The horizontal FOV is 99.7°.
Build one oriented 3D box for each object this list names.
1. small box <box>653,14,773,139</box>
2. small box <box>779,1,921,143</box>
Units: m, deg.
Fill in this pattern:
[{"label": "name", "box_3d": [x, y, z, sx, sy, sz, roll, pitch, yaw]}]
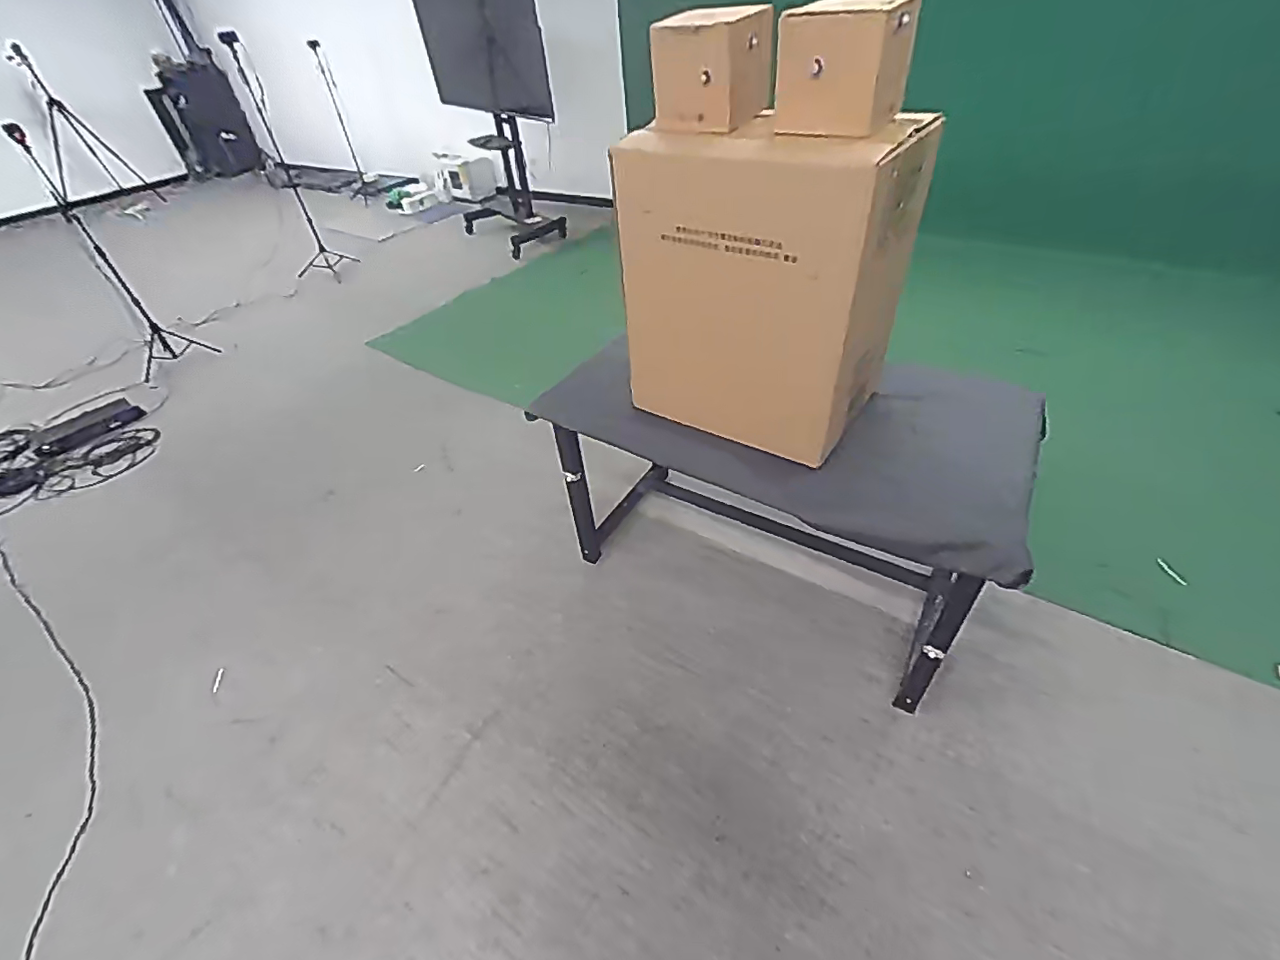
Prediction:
[{"label": "small box", "box_3d": [0.145, -0.787, 1.059, 0.168, 0.176, 0.179, 23, 52, 27]}, {"label": "small box", "box_3d": [0.354, -0.701, 0.937, 0.179, 0.176, 0.168, 23, 53, 30]}]
